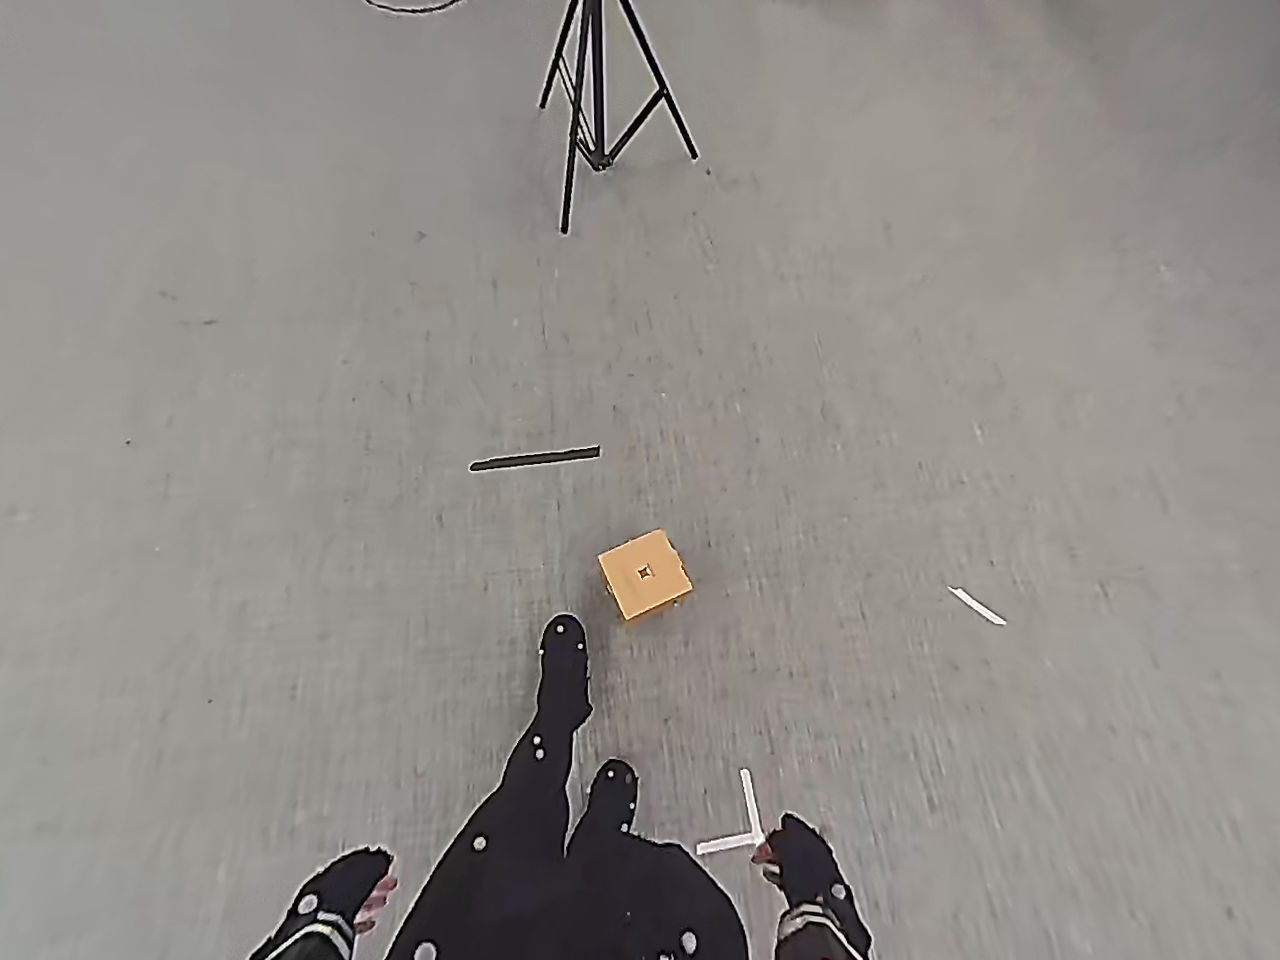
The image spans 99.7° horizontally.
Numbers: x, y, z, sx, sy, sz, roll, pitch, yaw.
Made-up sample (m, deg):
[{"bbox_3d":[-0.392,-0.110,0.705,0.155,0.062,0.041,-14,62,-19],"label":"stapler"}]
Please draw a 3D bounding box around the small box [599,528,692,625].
[{"bbox_3d":[0.008,0.244,1.340,0.179,0.176,0.168,-24,71,-10],"label":"small box"}]
